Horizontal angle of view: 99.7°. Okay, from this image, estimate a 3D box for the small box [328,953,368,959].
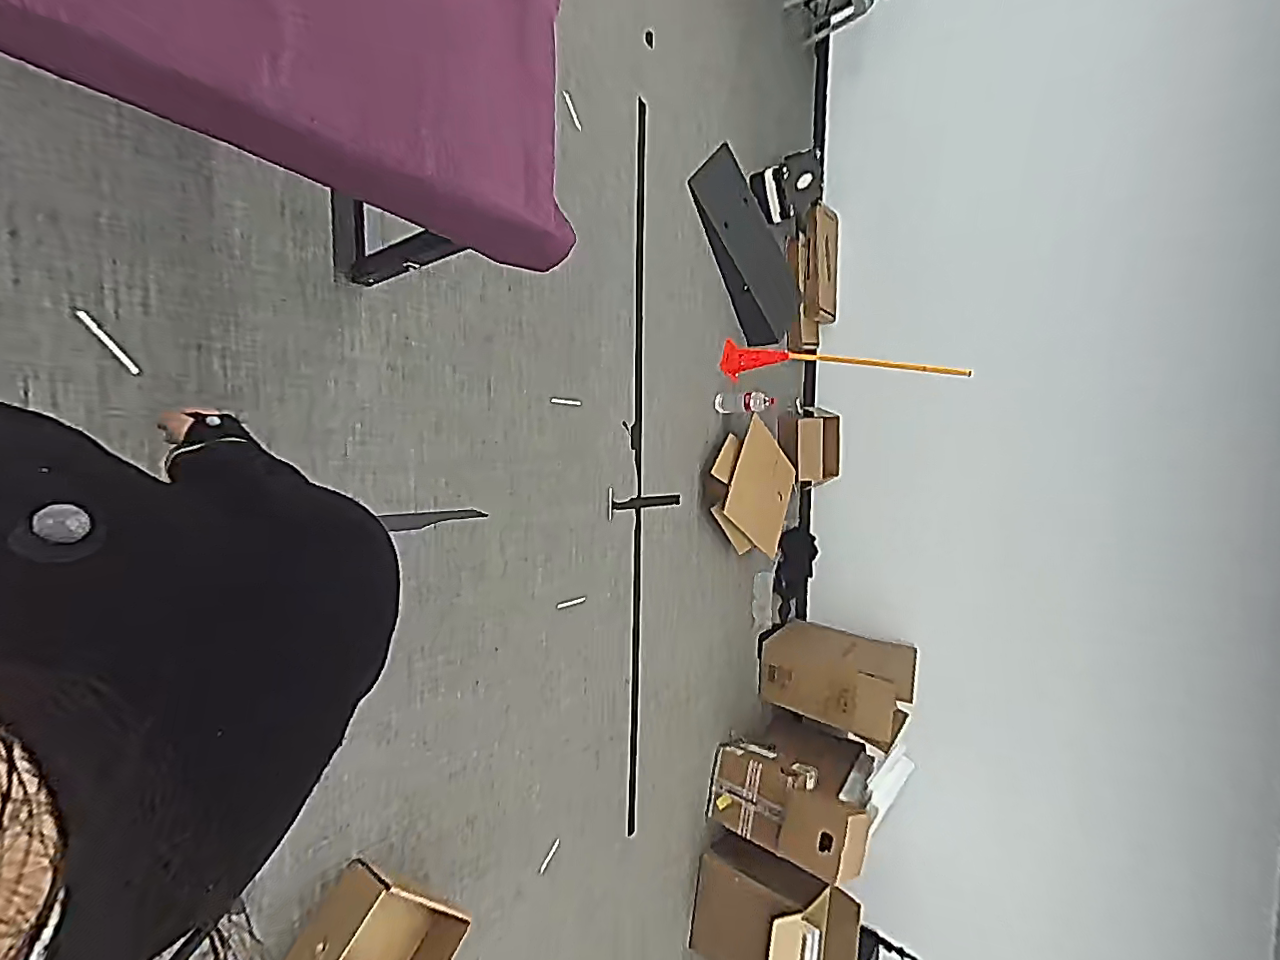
[{"bbox_3d":[-0.781,1.414,1.442,0.168,0.176,0.179,-57,133,-31],"label":"small box"}]
